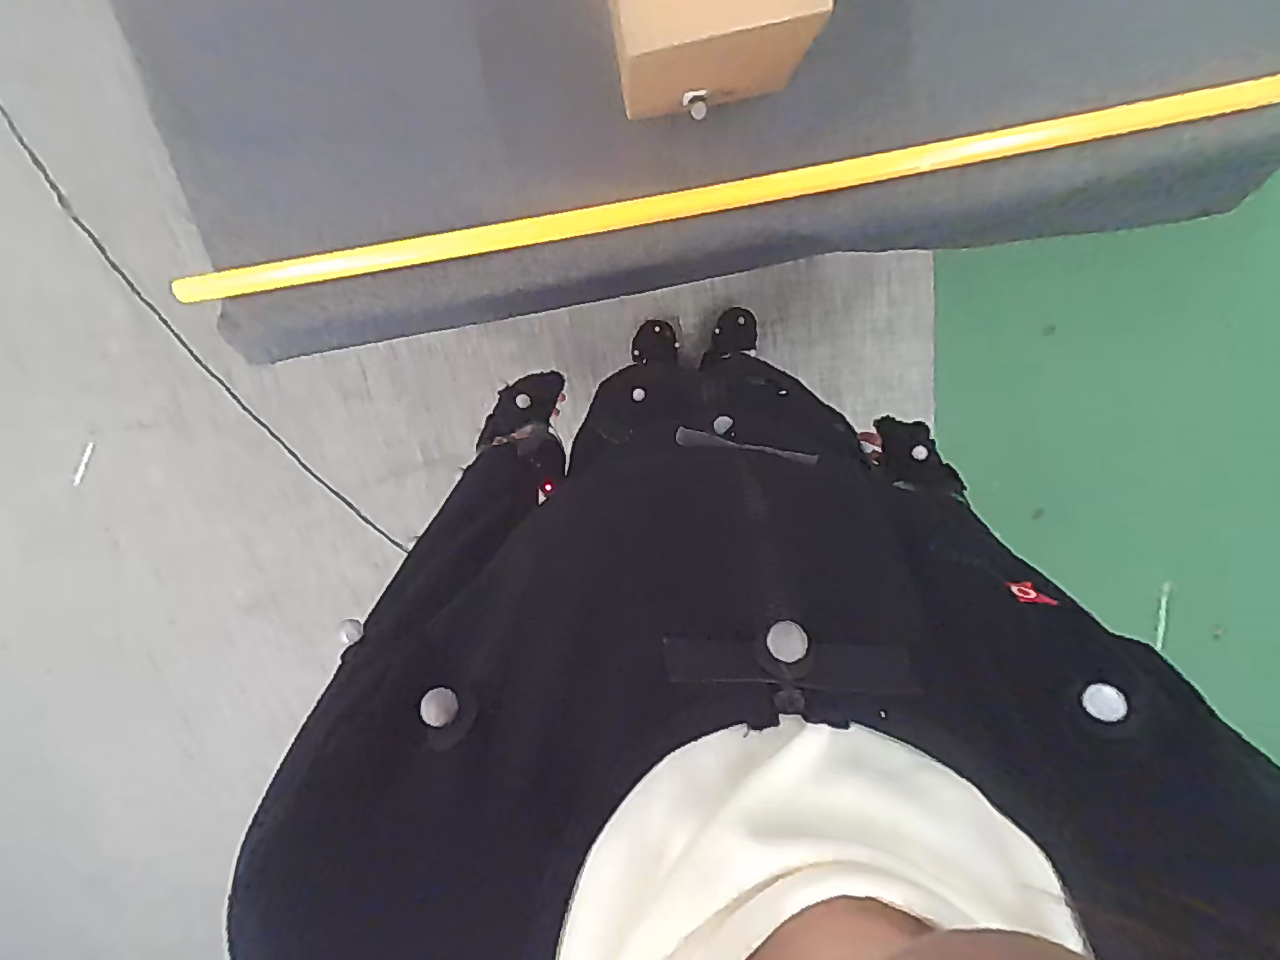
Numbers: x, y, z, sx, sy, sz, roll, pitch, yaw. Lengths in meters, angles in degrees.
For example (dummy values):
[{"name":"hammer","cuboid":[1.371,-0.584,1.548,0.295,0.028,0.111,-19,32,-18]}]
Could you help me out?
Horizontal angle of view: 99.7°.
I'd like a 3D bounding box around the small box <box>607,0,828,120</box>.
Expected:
[{"name":"small box","cuboid":[0.051,-0.457,0.478,0.168,0.176,0.179,-10,108,4]}]
